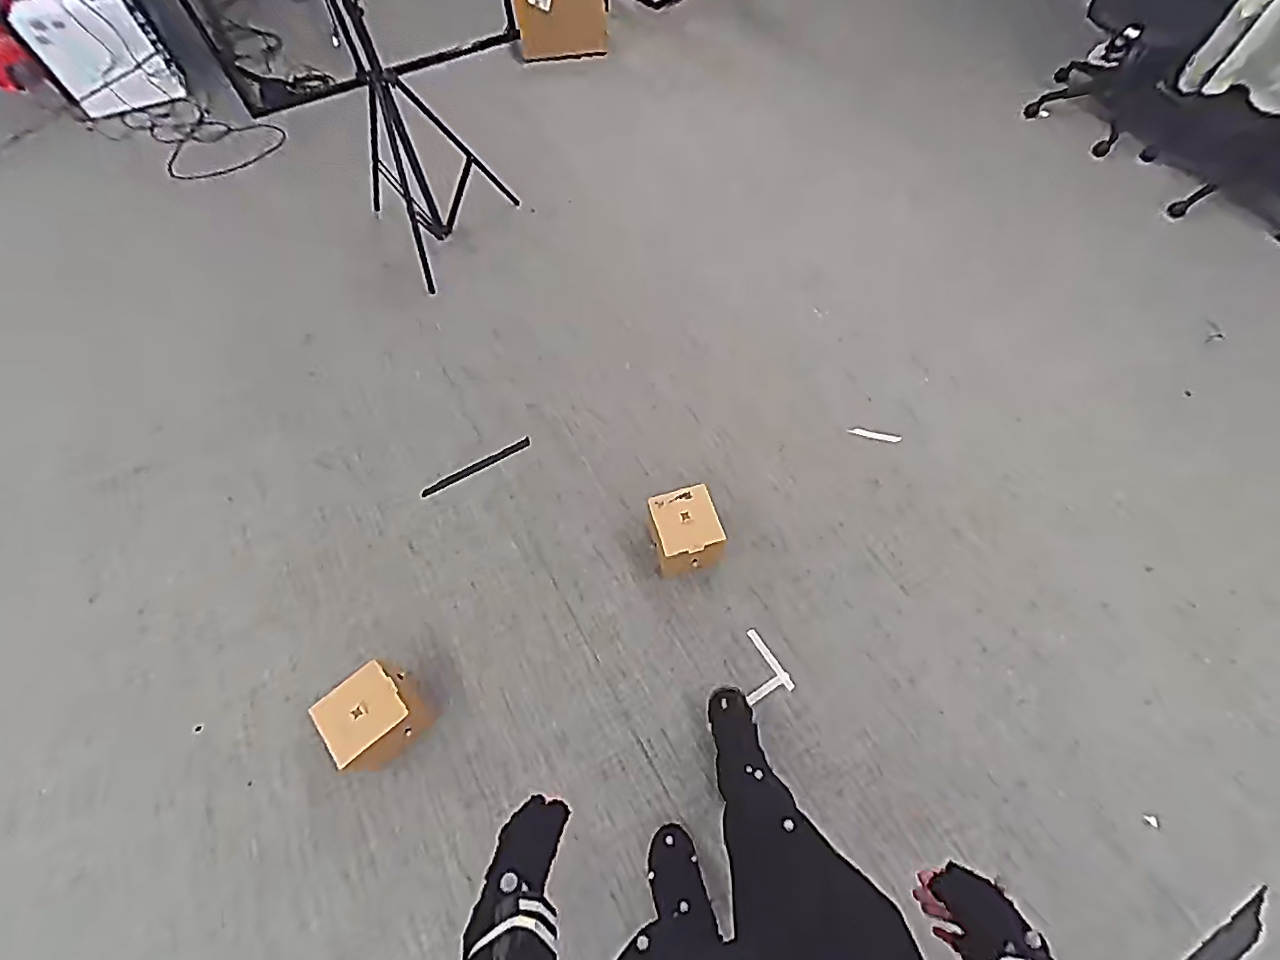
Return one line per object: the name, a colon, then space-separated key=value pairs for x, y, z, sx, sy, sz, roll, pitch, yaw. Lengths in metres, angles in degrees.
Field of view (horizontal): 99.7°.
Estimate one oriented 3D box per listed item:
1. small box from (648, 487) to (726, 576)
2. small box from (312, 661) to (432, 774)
small box: x=0.126 y=0.149 z=1.477 sx=0.168 sy=0.176 sz=0.179 roll=-15 pitch=62 yaw=-6
small box: x=-0.620 y=0.563 z=1.278 sx=0.179 sy=0.176 sz=0.168 roll=-39 pitch=65 yaw=-17
